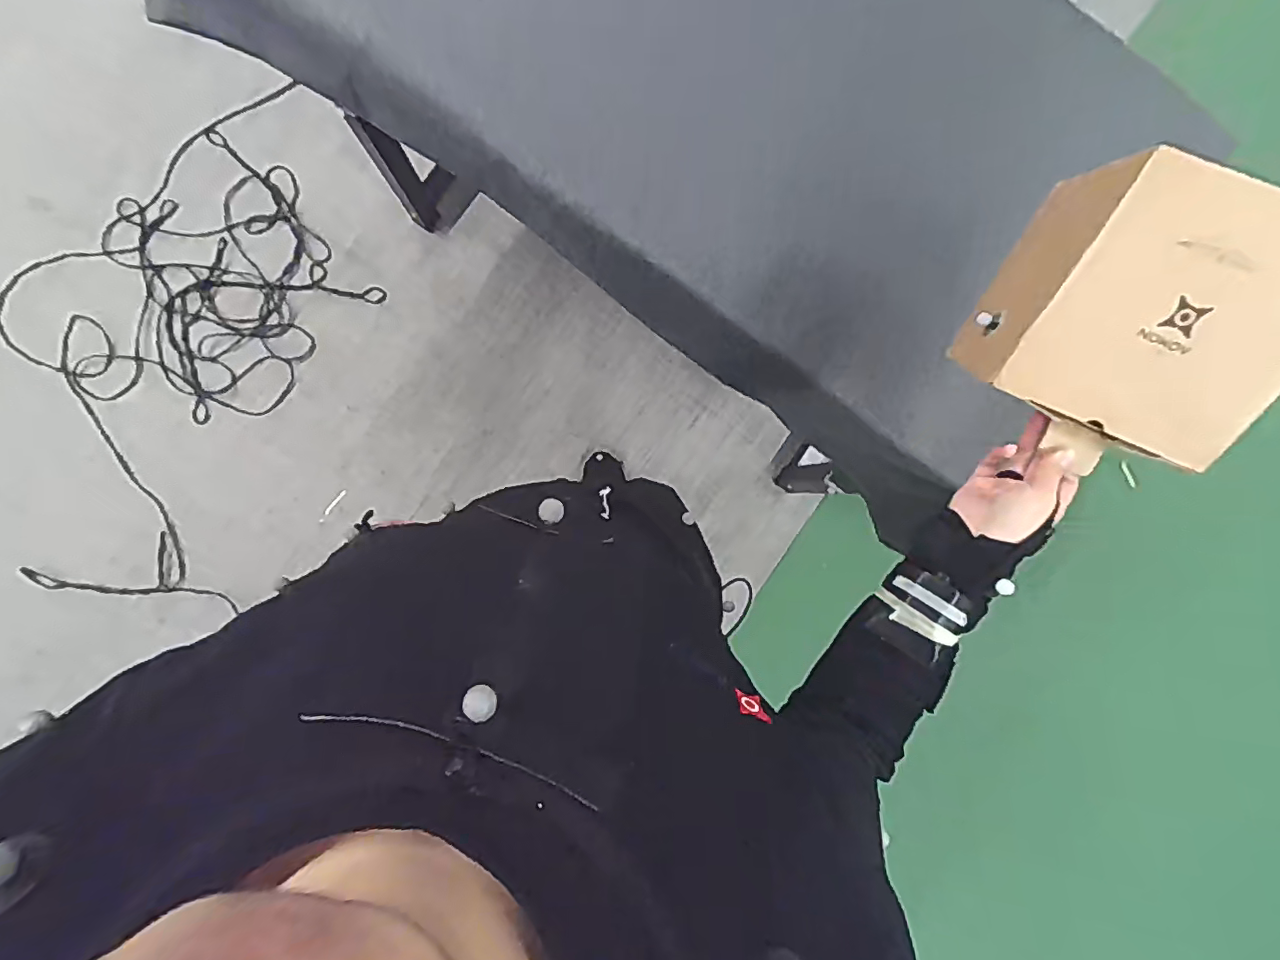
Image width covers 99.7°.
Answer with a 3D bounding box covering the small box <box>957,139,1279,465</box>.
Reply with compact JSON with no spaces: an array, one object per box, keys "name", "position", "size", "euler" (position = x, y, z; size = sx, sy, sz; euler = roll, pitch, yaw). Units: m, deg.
[{"name":"small box","position":[0.398,-0.143,0.450],"size":[0.168,0.176,0.179],"euler":[25,115,6]}]
